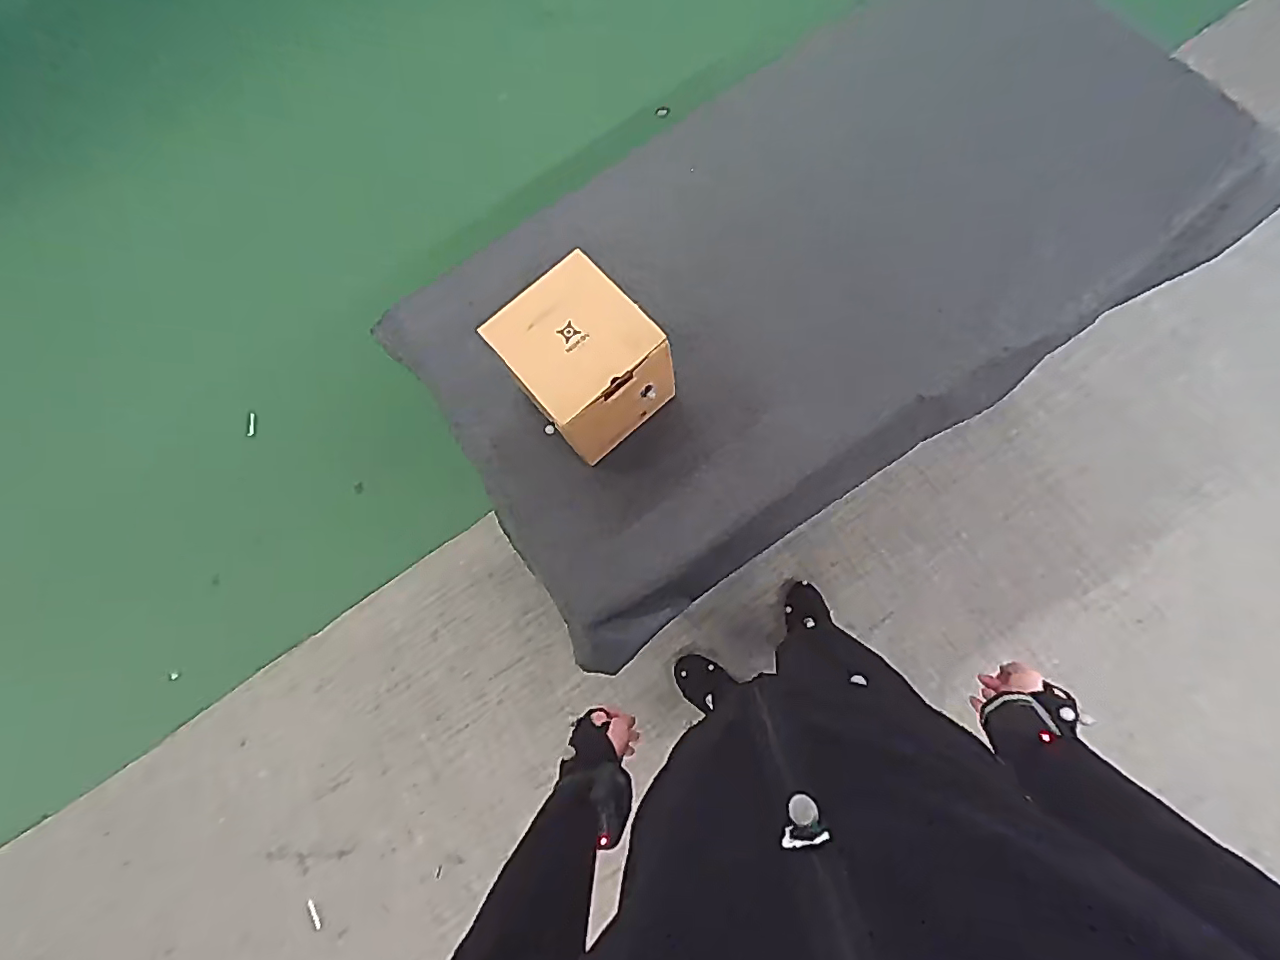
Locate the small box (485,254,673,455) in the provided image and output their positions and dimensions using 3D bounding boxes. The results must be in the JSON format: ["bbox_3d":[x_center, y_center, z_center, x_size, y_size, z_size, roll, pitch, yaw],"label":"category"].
[{"bbox_3d":[-0.068,-0.153,0.728,0.168,0.176,0.179,-41,75,-6],"label":"small box"}]
